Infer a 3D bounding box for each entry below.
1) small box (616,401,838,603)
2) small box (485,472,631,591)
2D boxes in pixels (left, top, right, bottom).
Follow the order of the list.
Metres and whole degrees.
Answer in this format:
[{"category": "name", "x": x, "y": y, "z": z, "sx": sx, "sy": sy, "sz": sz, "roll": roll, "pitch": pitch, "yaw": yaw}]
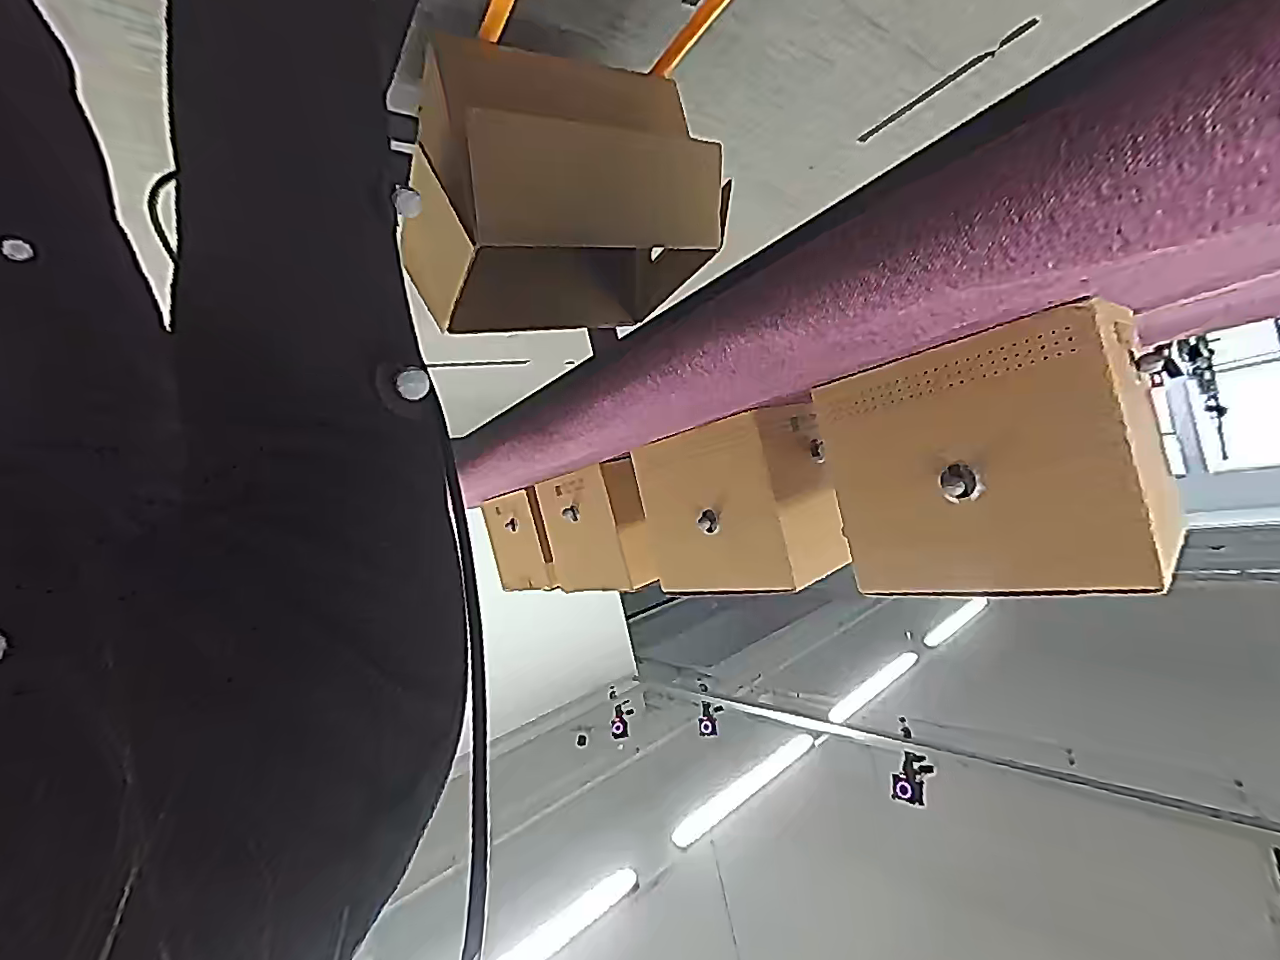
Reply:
[{"category": "small box", "x": 0.093, "y": 0.038, "z": 0.634, "sx": 0.168, "sy": 0.176, "sz": 0.179, "roll": 28, "pitch": 163, "yaw": -12}, {"category": "small box", "x": -0.143, "y": 0.087, "z": 0.946, "sx": 0.179, "sy": 0.176, "sz": 0.168, "roll": -13, "pitch": 179, "yaw": -42}]
